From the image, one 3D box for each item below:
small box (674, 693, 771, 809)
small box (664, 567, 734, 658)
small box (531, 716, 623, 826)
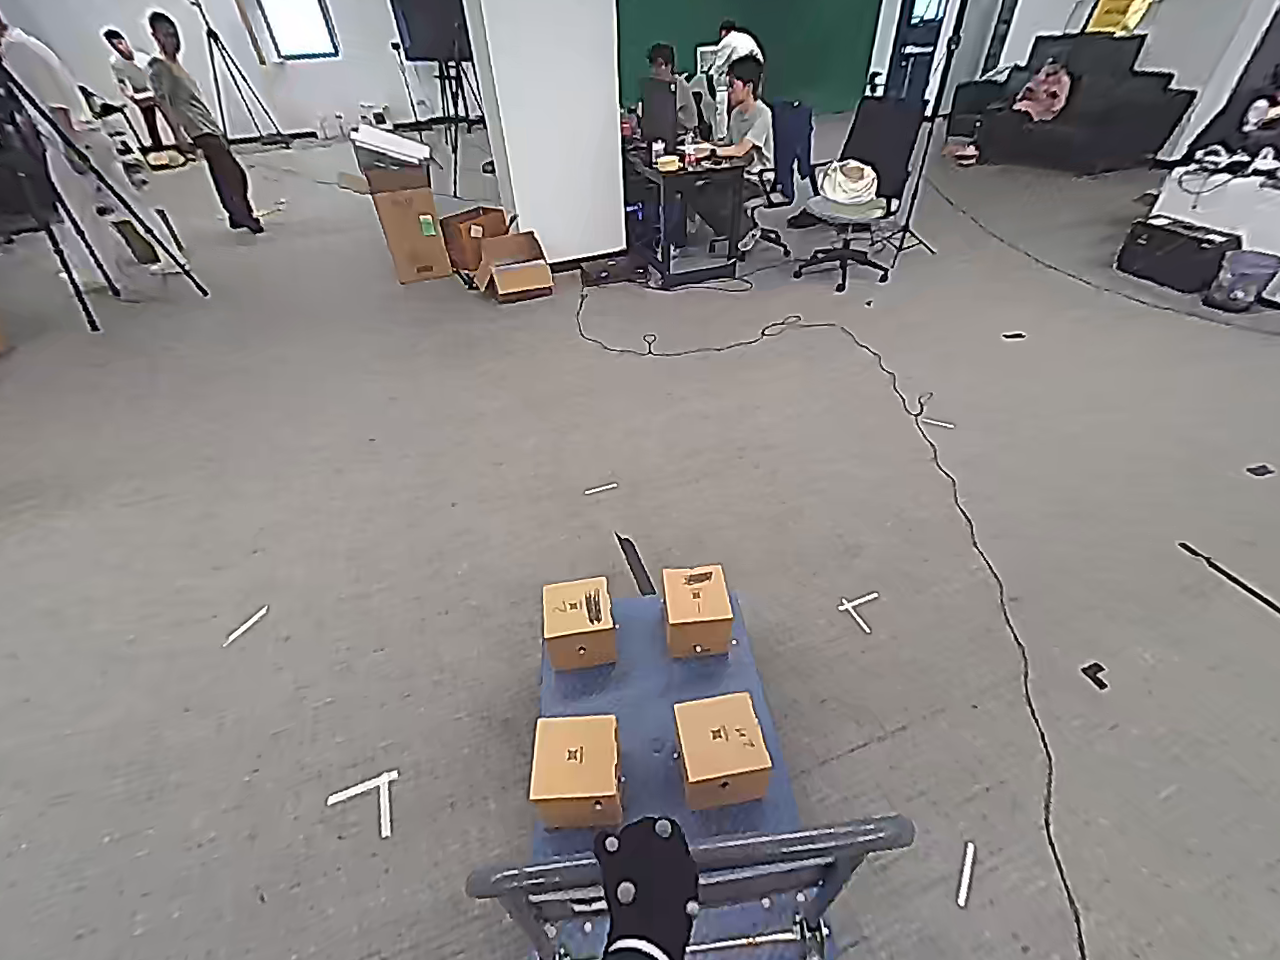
[{"bbox_3d":[0.177,0.604,1.200,0.179,0.176,0.168,-8,41,-5],"label":"small box"},{"bbox_3d":[0.154,0.361,1.480,0.168,0.176,0.179,-5,42,-2],"label":"small box"},{"bbox_3d":[-0.130,0.638,1.182,0.179,0.176,0.168,-2,41,-1],"label":"small box"}]
